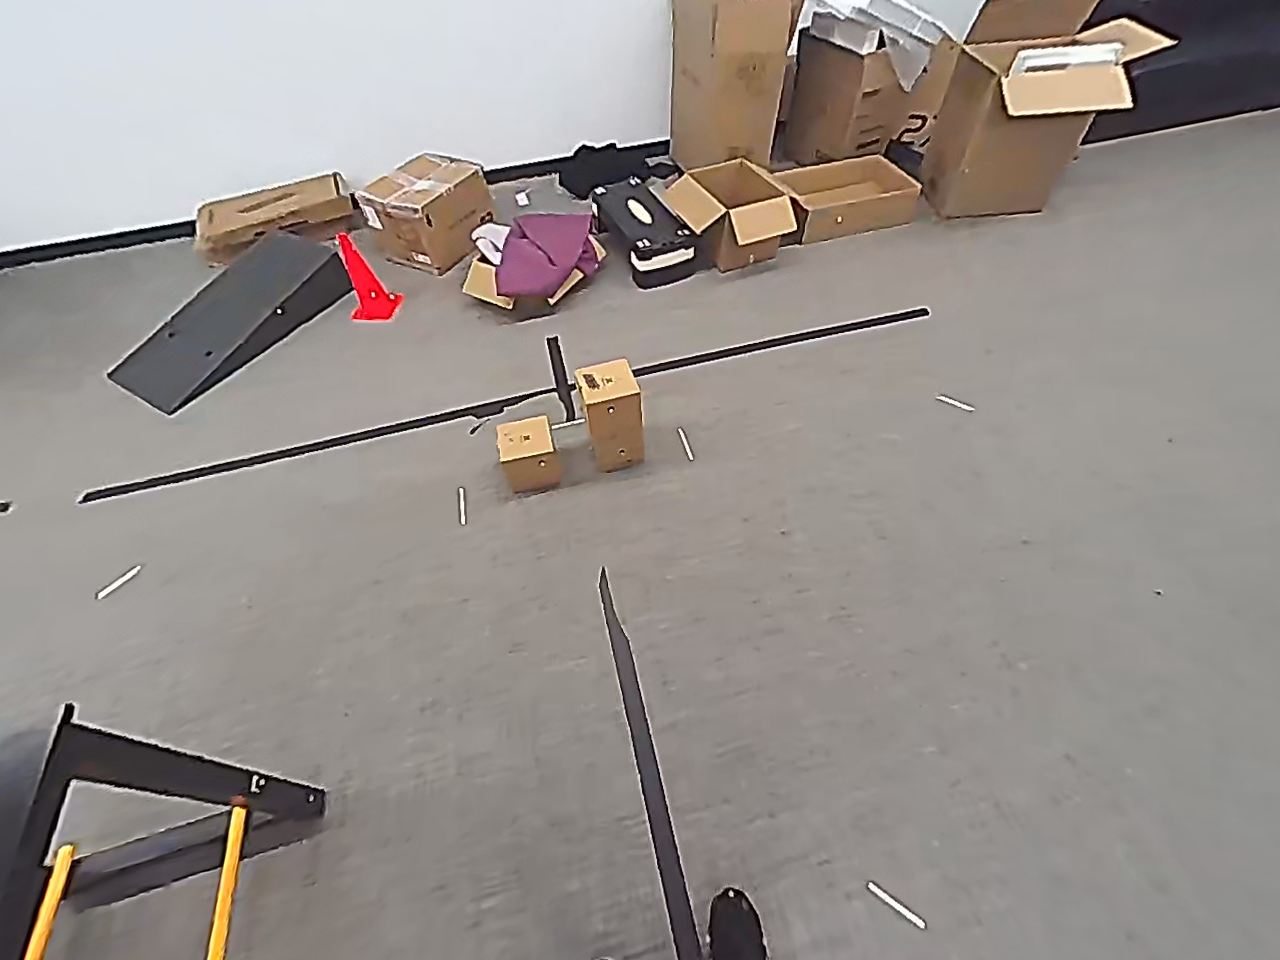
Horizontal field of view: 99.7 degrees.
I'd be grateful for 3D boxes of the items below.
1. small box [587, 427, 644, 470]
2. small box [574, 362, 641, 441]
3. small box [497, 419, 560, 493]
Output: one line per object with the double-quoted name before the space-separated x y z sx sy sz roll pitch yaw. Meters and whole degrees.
"small box" -0.088 -0.153 1.873 0.168 0.176 0.179 -15 54 -8
"small box" -0.102 -0.249 1.739 0.179 0.176 0.168 -15 53 -9
"small box" -0.373 -0.078 1.830 0.179 0.176 0.168 -13 53 -6
